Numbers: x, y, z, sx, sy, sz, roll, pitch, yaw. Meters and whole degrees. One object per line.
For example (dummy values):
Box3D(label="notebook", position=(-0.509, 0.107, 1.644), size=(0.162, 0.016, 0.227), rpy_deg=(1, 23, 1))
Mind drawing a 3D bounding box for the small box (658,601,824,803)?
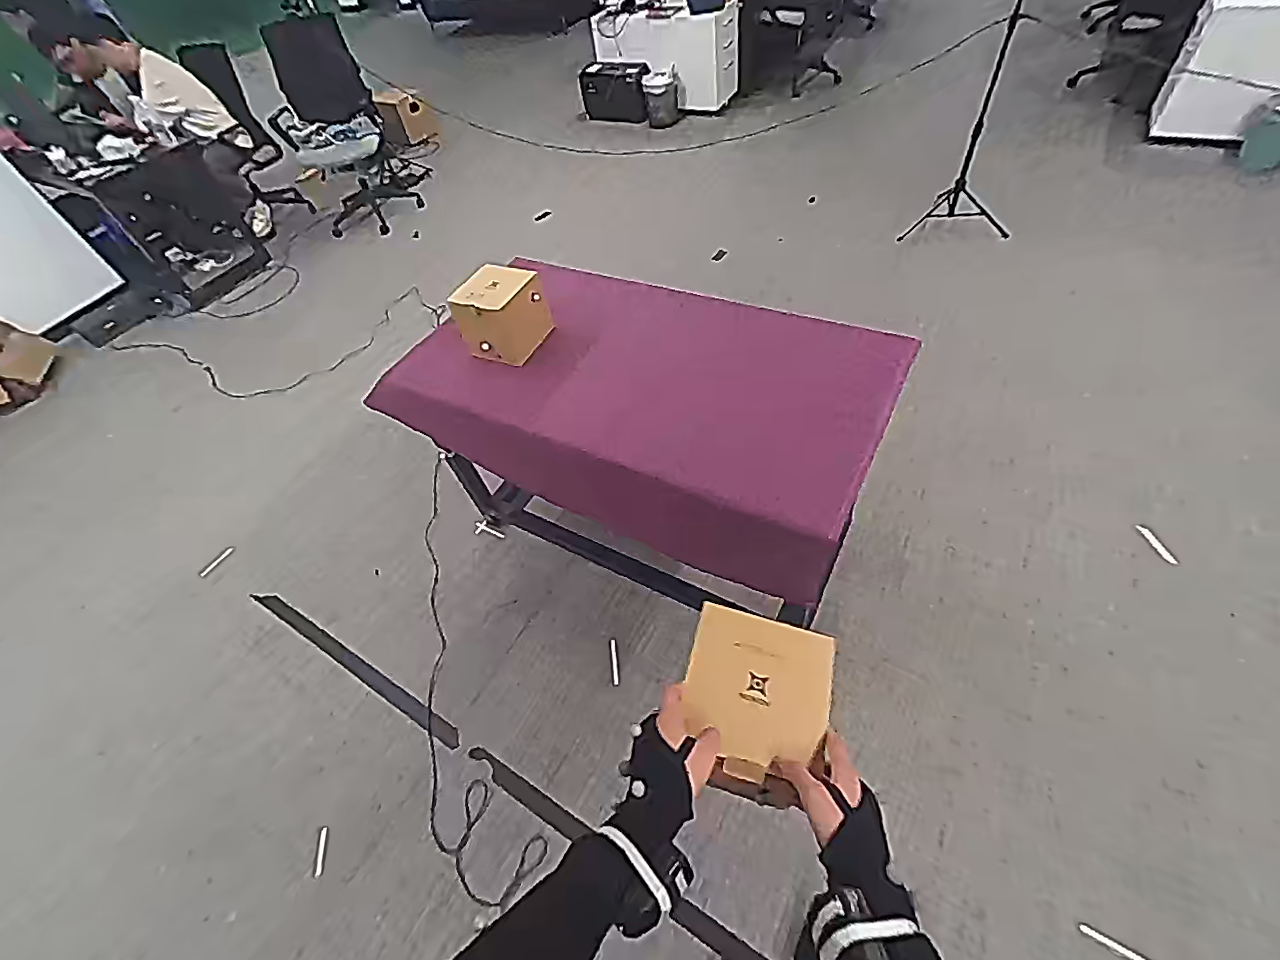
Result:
Box3D(label="small box", position=(0.121, 0.286, 0.686), size=(0.168, 0.176, 0.179), rpy_deg=(14, 53, 8))

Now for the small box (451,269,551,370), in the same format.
Box3D(label="small box", position=(-0.348, -0.417, 1.403), size=(0.168, 0.176, 0.179), rpy_deg=(17, 57, 22))
